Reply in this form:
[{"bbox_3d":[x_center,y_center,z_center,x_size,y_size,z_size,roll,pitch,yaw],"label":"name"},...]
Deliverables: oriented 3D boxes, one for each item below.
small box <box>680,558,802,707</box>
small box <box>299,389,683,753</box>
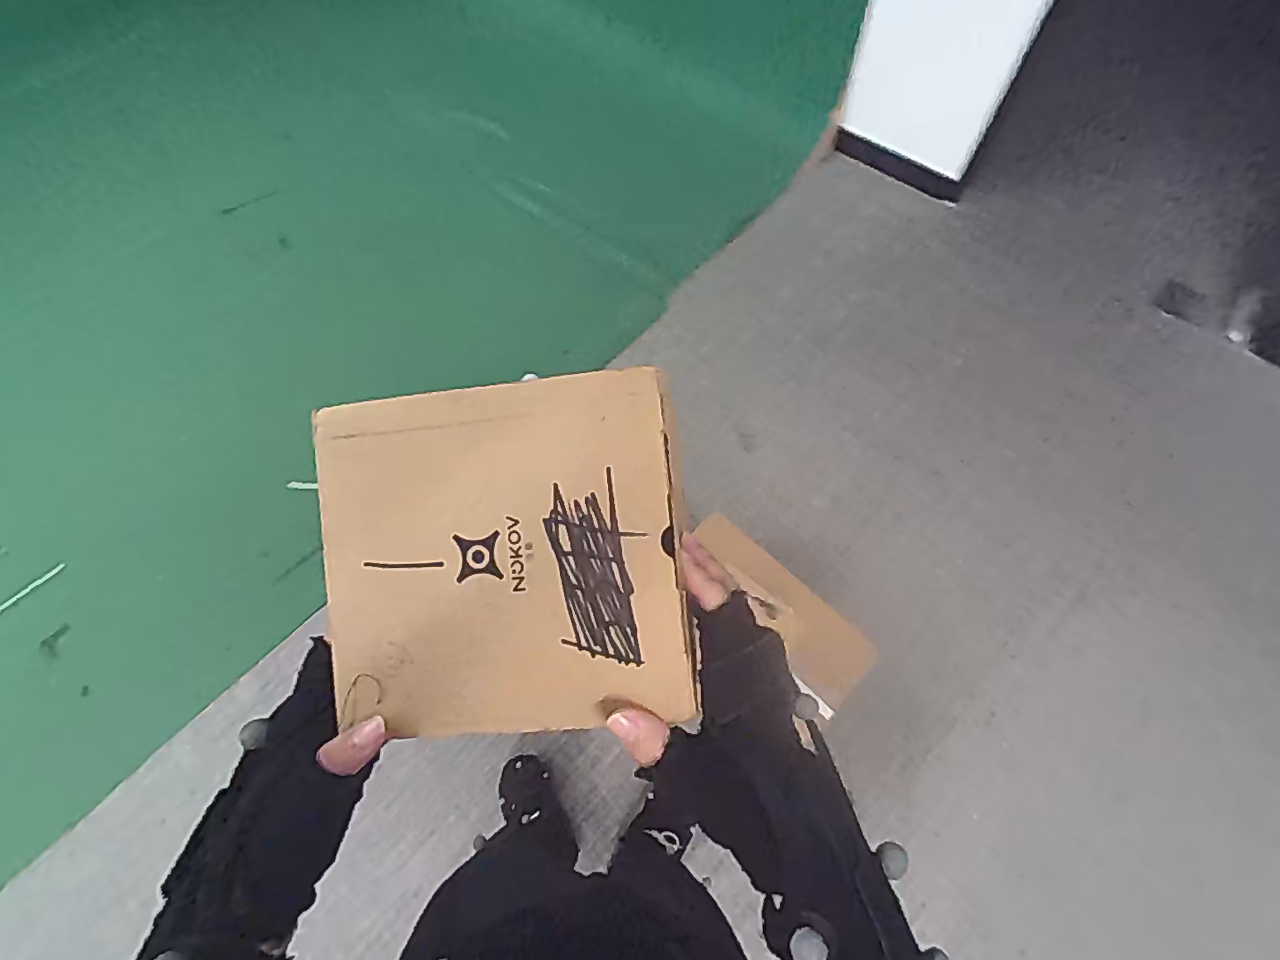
[{"bbox_3d":[0.152,0.269,0.940,0.168,0.176,0.179,38,76,18],"label":"small box"},{"bbox_3d":[-0.067,0.045,0.337,0.179,0.176,0.168,-6,89,6],"label":"small box"}]
